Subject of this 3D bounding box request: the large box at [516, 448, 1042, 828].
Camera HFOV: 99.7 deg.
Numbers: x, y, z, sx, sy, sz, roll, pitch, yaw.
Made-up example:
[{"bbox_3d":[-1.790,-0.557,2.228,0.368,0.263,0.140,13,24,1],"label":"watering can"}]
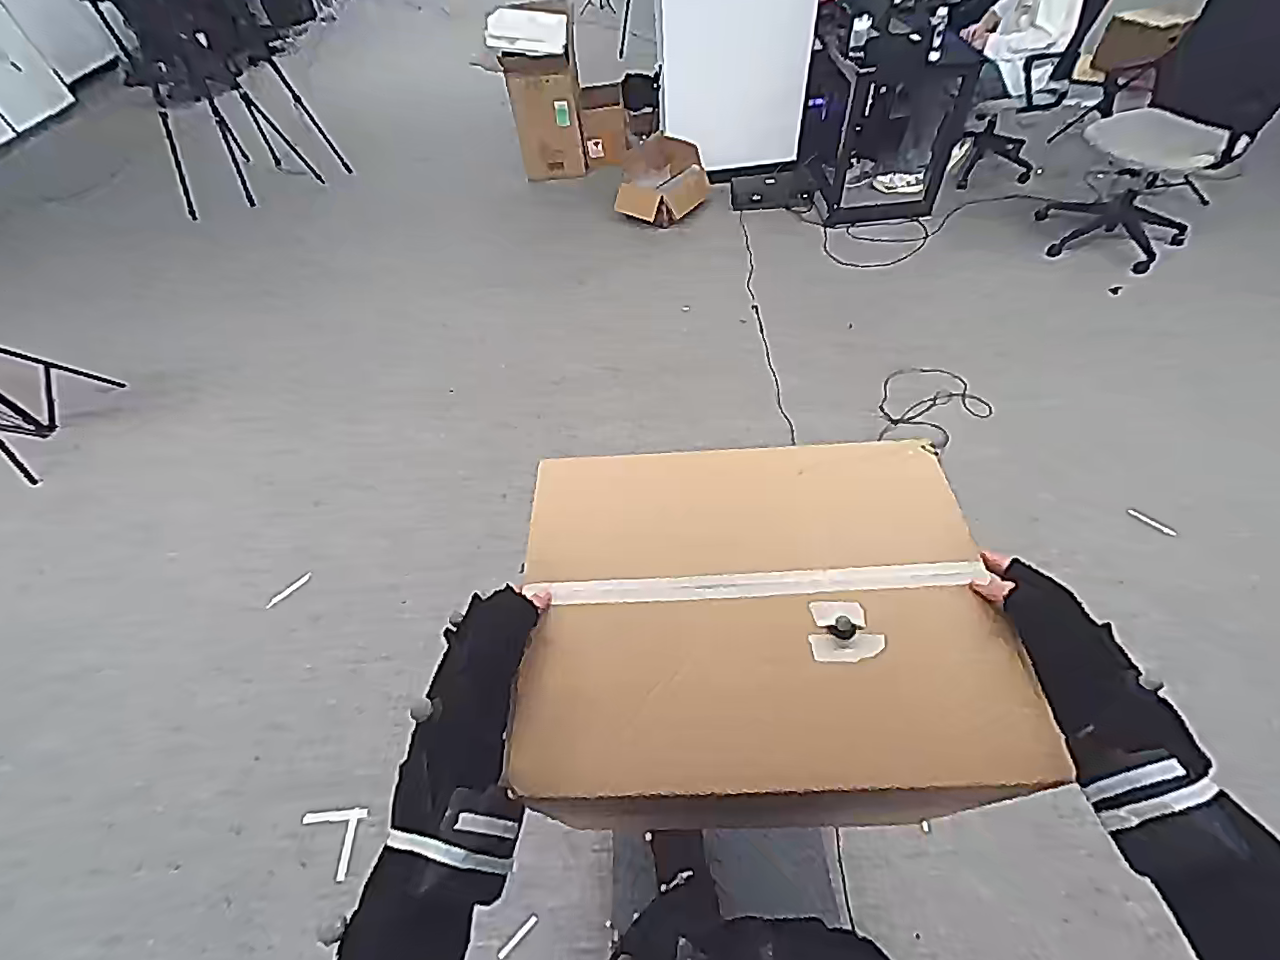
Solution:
[{"bbox_3d":[0.105,0.189,0.610,0.408,0.320,0.320,-3,54,2],"label":"large box"}]
